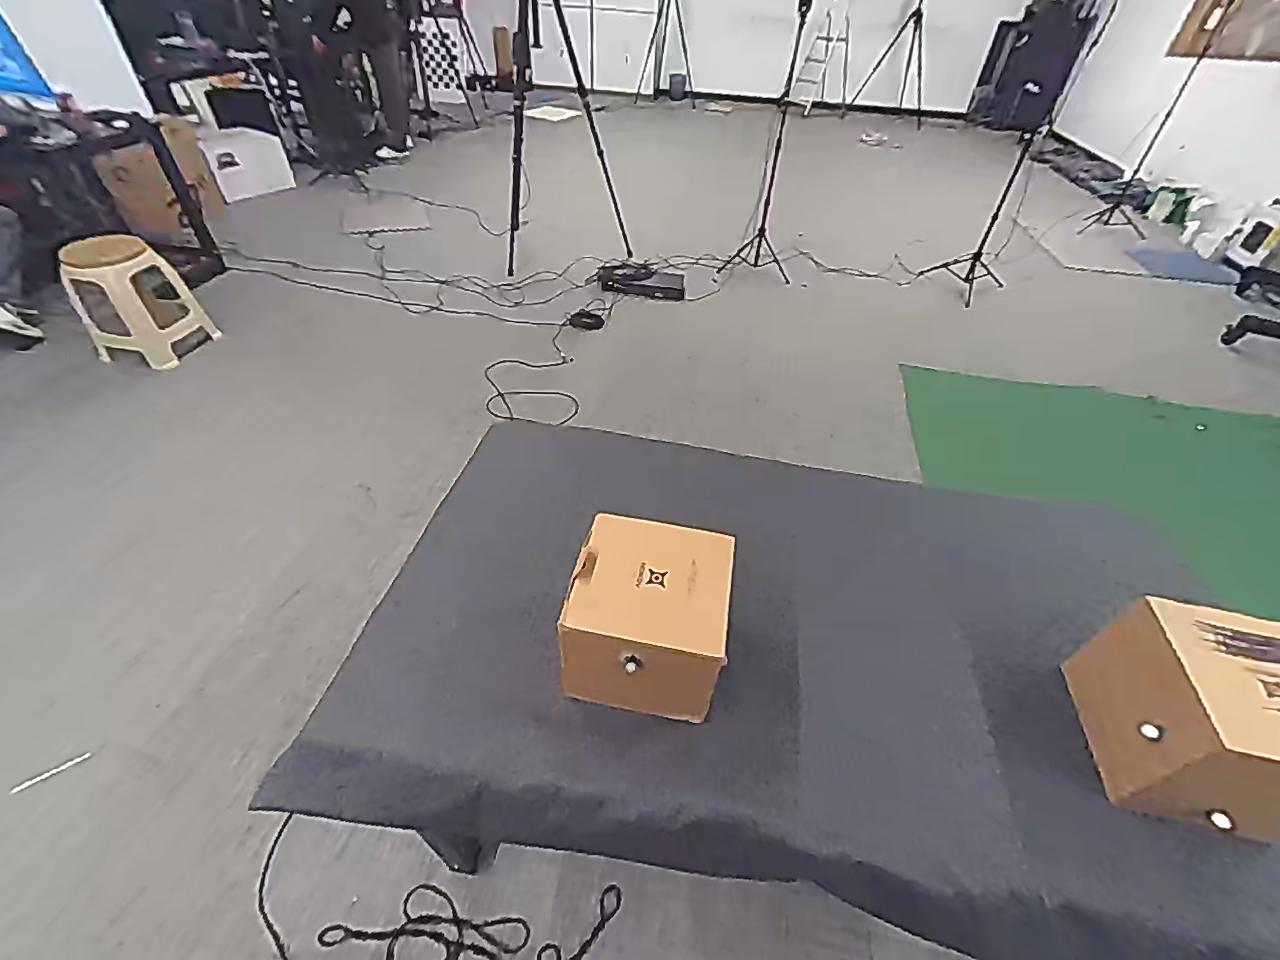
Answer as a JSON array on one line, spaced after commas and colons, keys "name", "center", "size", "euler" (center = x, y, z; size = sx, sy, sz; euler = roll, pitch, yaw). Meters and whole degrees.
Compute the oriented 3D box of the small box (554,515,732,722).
[{"name": "small box", "center": [0.006, 0.170, 0.657], "size": [0.179, 0.176, 0.168], "euler": [11, 44, 5]}]
